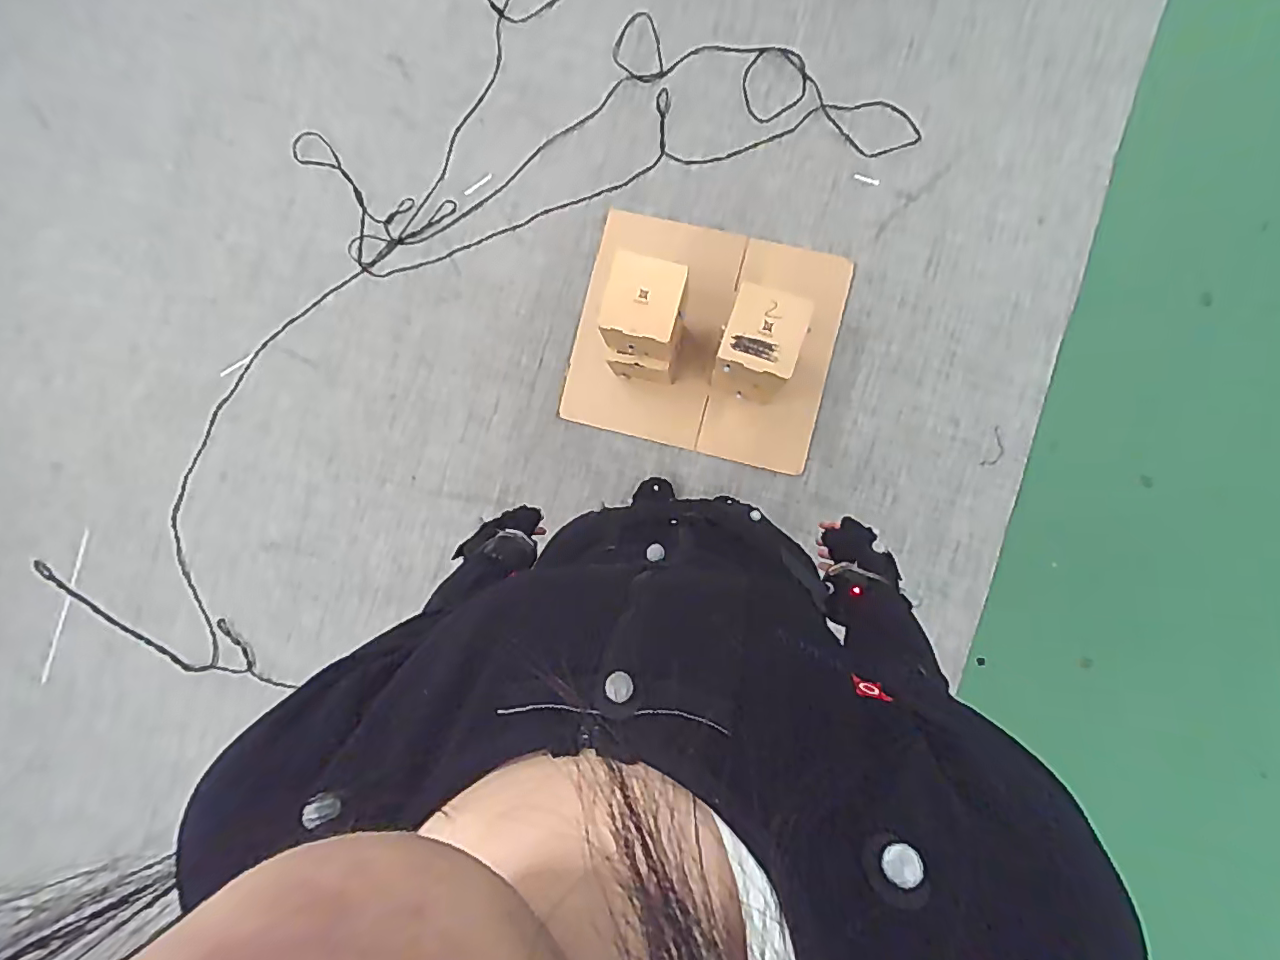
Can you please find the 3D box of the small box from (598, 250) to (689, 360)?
[{"bbox_3d":[0.011,-0.397,1.255,0.168,0.176,0.179,15,89,5],"label":"small box"}]

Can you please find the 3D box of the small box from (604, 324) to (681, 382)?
[{"bbox_3d":[0.013,-0.367,1.417,0.168,0.176,0.179,12,89,5],"label":"small box"}]

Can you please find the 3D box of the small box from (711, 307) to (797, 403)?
[{"bbox_3d":[0.286,-0.314,1.396,0.168,0.176,0.179,19,91,6],"label":"small box"}]
